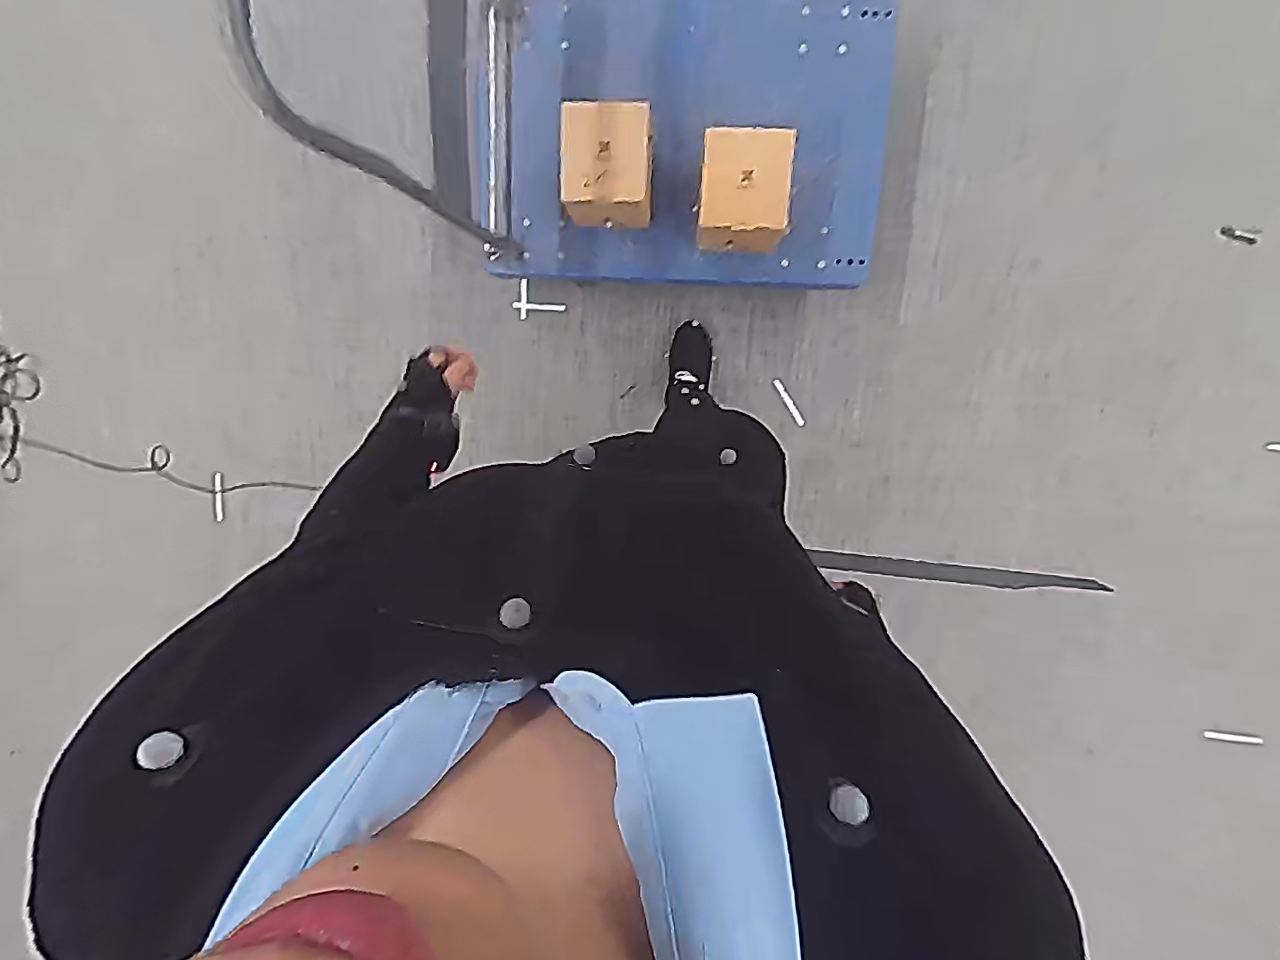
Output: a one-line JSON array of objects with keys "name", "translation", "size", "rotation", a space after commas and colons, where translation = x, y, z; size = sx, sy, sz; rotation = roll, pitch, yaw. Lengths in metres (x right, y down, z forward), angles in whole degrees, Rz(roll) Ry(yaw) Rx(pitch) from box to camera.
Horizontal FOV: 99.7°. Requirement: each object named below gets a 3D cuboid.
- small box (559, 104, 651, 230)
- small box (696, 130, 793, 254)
[{"name": "small box", "translation": [-0.066, -0.627, 1.100], "size": [0.168, 0.176, 0.179], "rotation": [3, 100, 4]}, {"name": "small box", "translation": [0.202, -0.573, 1.094], "size": [0.168, 0.176, 0.179], "rotation": [3, 100, 3]}]
